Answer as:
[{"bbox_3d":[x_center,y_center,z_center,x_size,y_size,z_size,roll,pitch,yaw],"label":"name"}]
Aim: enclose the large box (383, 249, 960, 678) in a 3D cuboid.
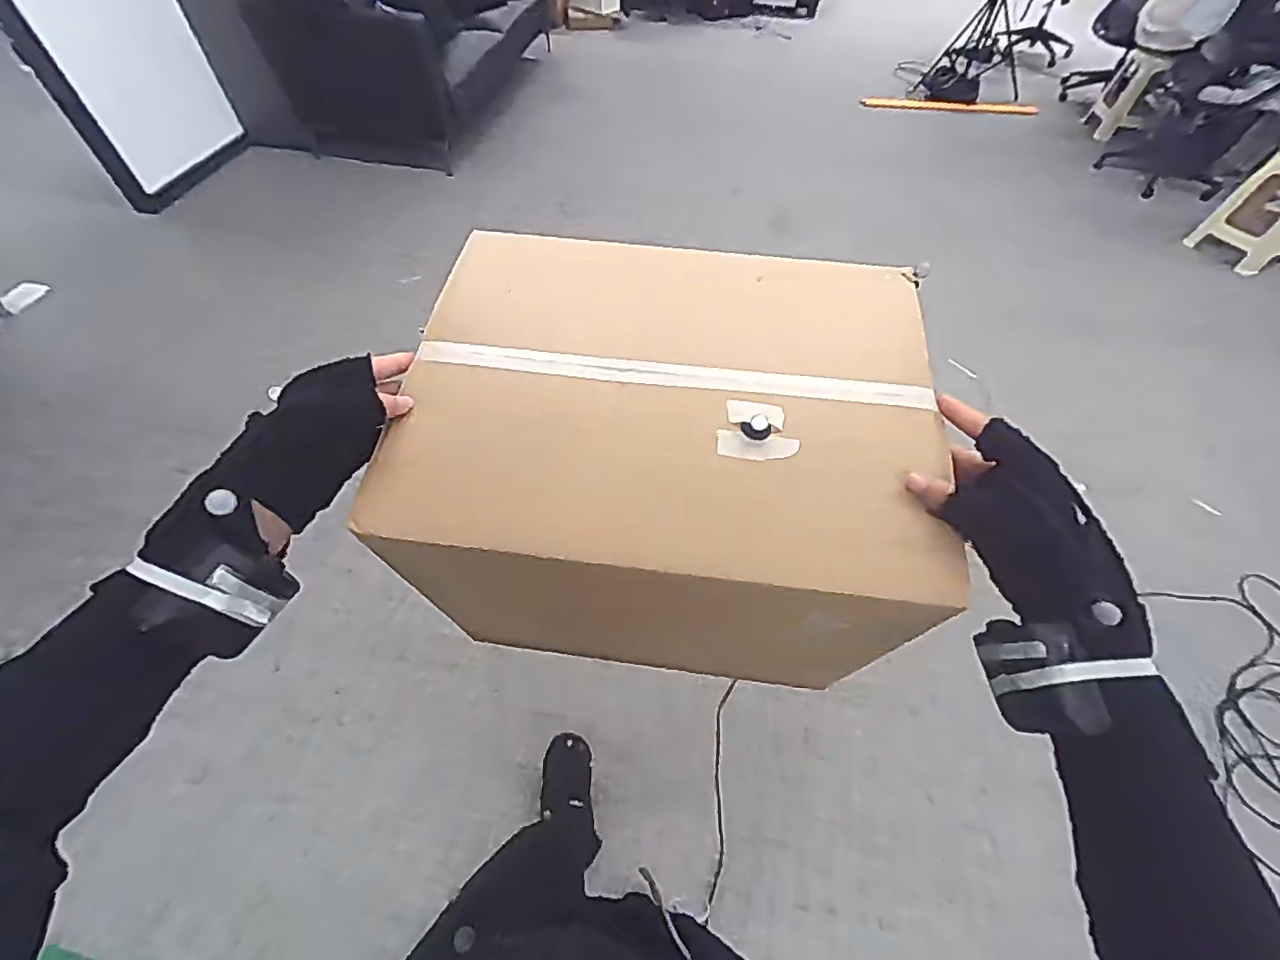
[{"bbox_3d":[0.029,0.001,0.568,0.408,0.320,0.320,7,61,3],"label":"large box"}]
